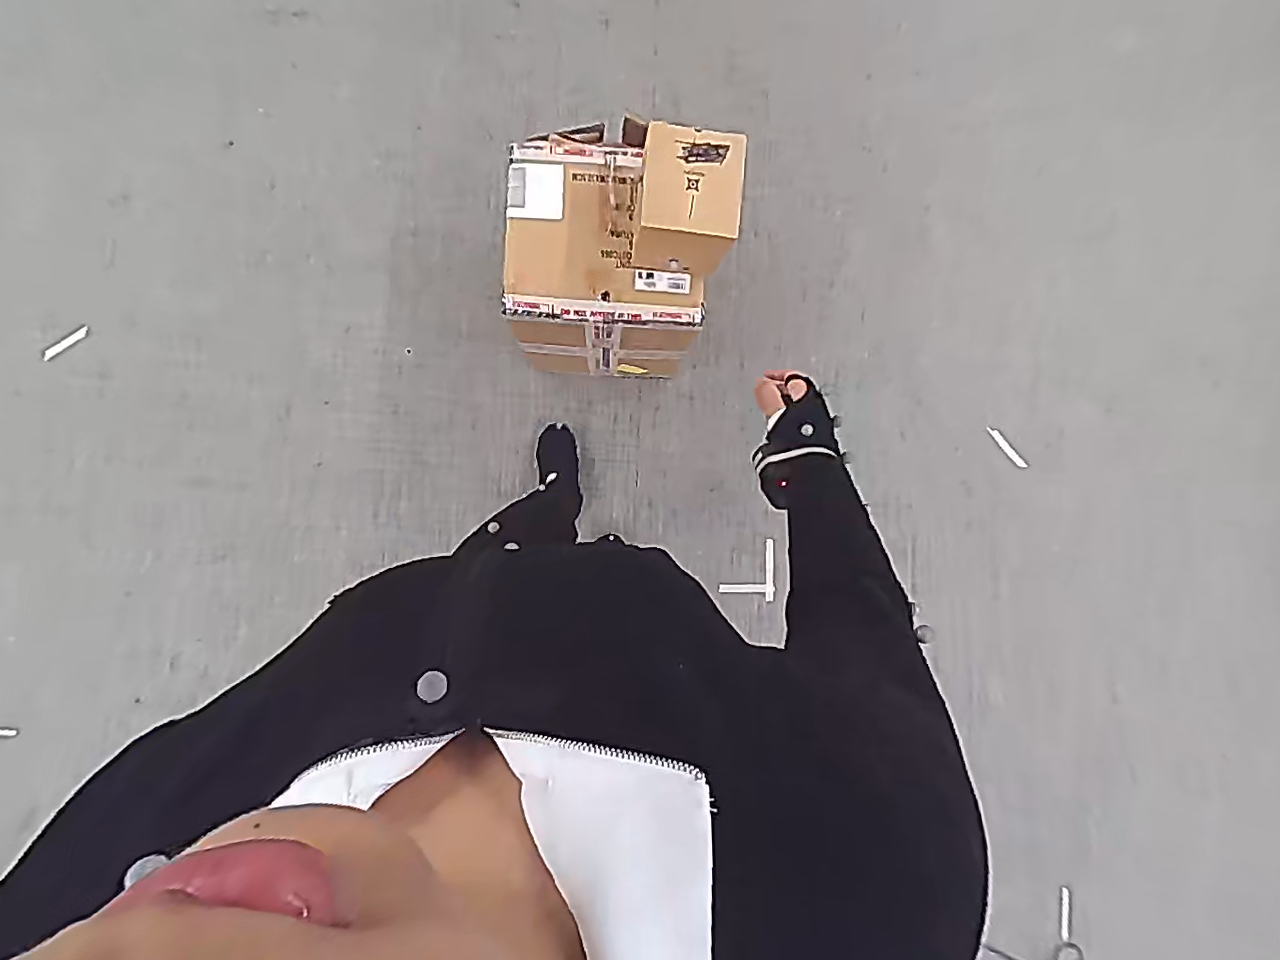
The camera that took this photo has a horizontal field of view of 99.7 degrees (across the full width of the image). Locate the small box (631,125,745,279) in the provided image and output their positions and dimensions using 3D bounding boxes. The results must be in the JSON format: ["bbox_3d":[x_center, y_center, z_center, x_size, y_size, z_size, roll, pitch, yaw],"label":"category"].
[{"bbox_3d":[0.077,-0.484,0.964,0.168,0.176,0.179,5,90,-6],"label":"small box"}]
